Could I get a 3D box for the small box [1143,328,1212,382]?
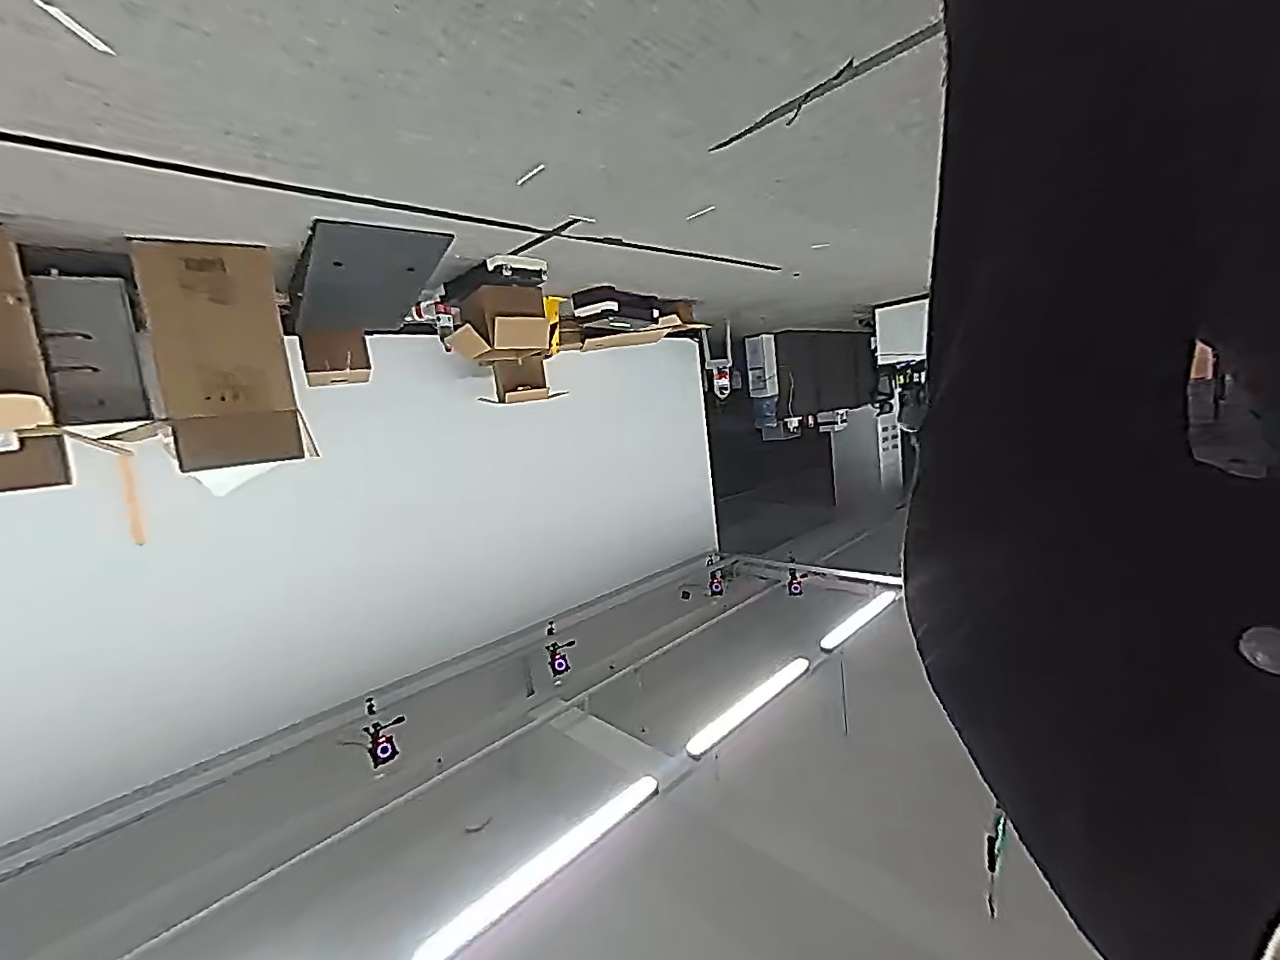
[{"bbox_3d":[1.970,-0.456,1.983,0.179,0.176,0.168,0,-172,45],"label":"small box"}]
